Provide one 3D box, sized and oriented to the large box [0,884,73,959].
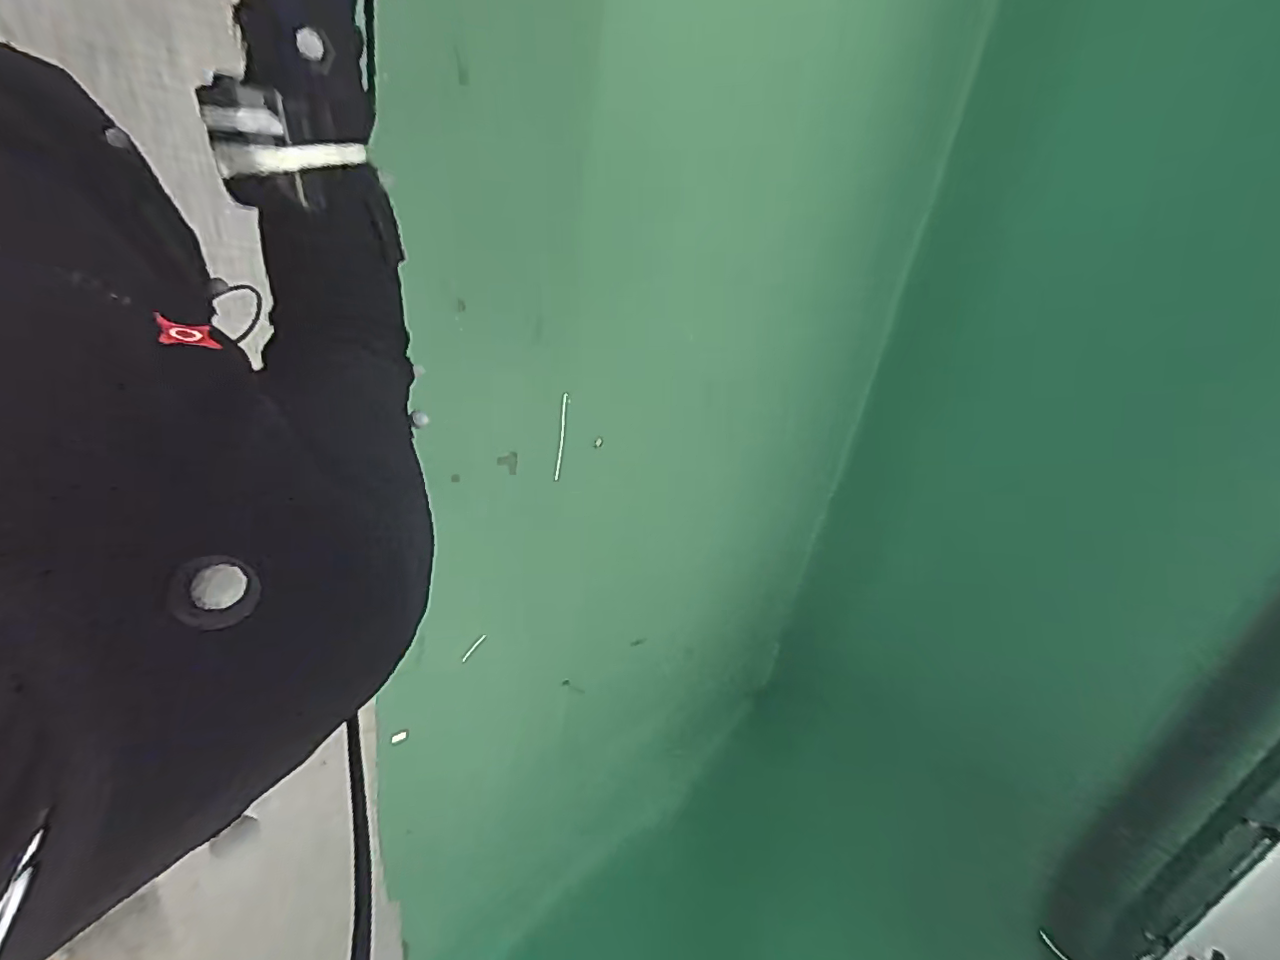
[{"bbox_3d":[-1.466,1.153,1.085,0.408,0.320,0.320,-18,126,-41],"label":"large box"}]
